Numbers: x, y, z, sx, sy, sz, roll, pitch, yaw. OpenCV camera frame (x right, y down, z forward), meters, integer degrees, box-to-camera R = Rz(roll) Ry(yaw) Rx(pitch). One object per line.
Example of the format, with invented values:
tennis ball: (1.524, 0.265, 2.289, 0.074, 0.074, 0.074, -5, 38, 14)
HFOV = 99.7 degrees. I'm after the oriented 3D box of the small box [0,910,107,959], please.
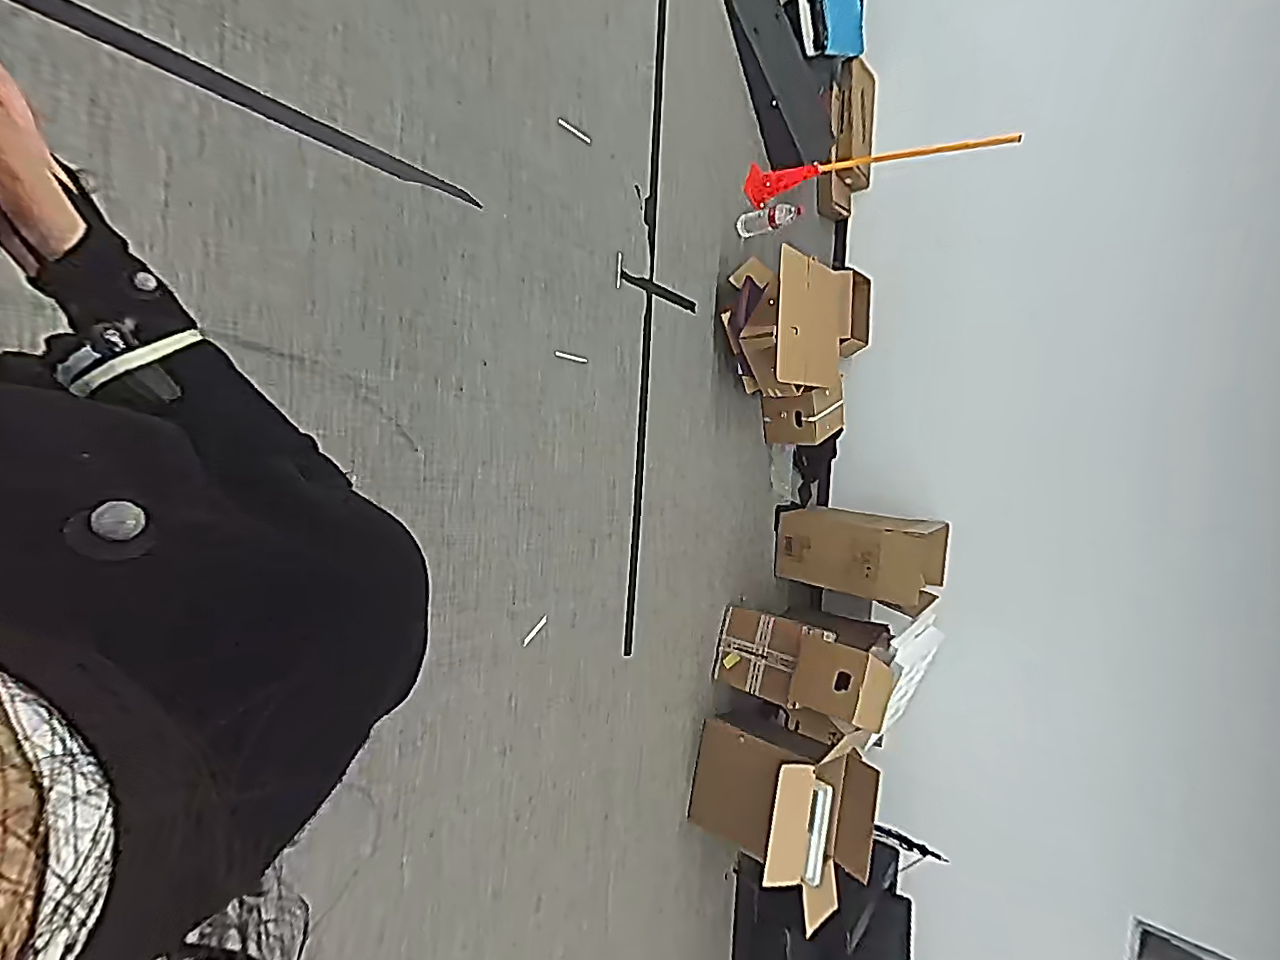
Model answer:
small box: (-0.690, 0.631, 0.580, 0.168, 0.176, 0.179, 0, 94, -49)
